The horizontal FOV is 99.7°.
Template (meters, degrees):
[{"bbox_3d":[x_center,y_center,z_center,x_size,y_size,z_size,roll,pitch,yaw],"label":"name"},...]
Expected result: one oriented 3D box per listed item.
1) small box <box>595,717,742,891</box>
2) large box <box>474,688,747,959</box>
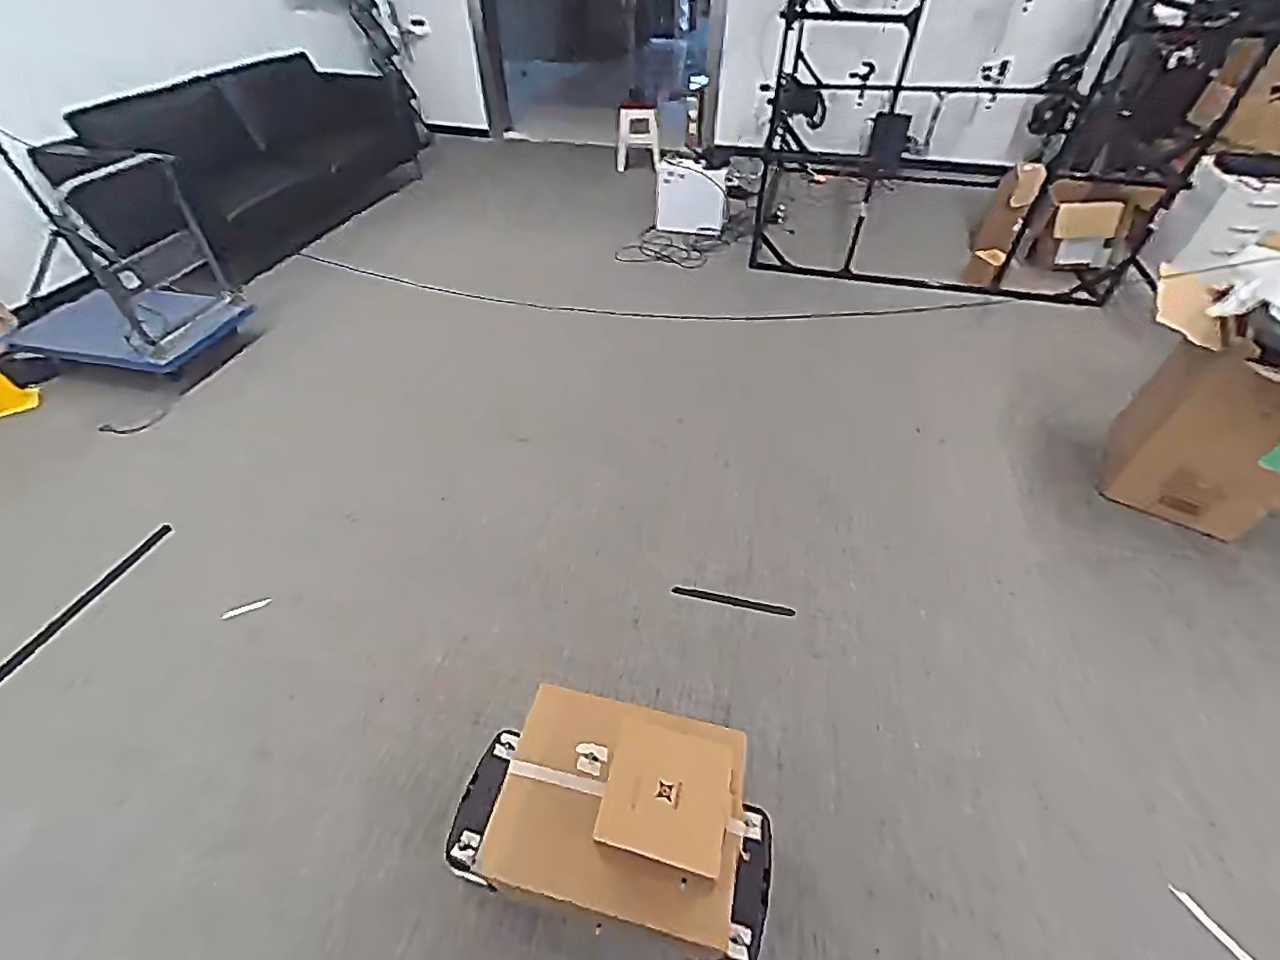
[{"bbox_3d":[0.045,0.488,0.811,0.179,0.176,0.168,11,47,12],"label":"small box"},{"bbox_3d":[-0.027,0.638,1.009,0.408,0.320,0.320,9,46,10],"label":"large box"}]
